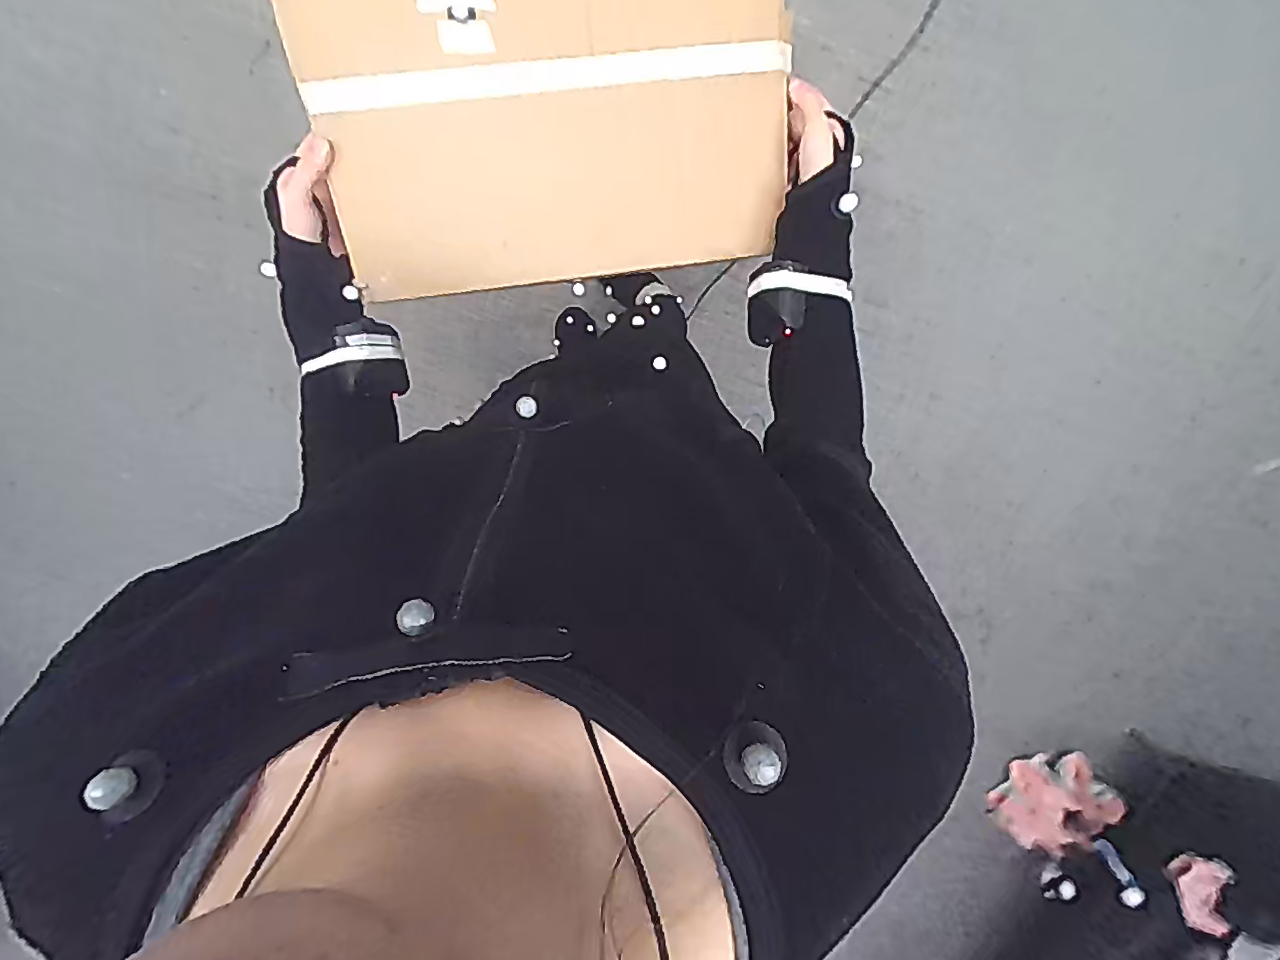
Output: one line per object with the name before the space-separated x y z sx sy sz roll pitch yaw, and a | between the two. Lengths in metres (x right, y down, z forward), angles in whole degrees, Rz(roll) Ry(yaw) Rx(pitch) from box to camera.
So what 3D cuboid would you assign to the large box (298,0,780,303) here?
large box | -0.087 -0.390 0.610 0.408 0.320 0.320 -8 111 -5
